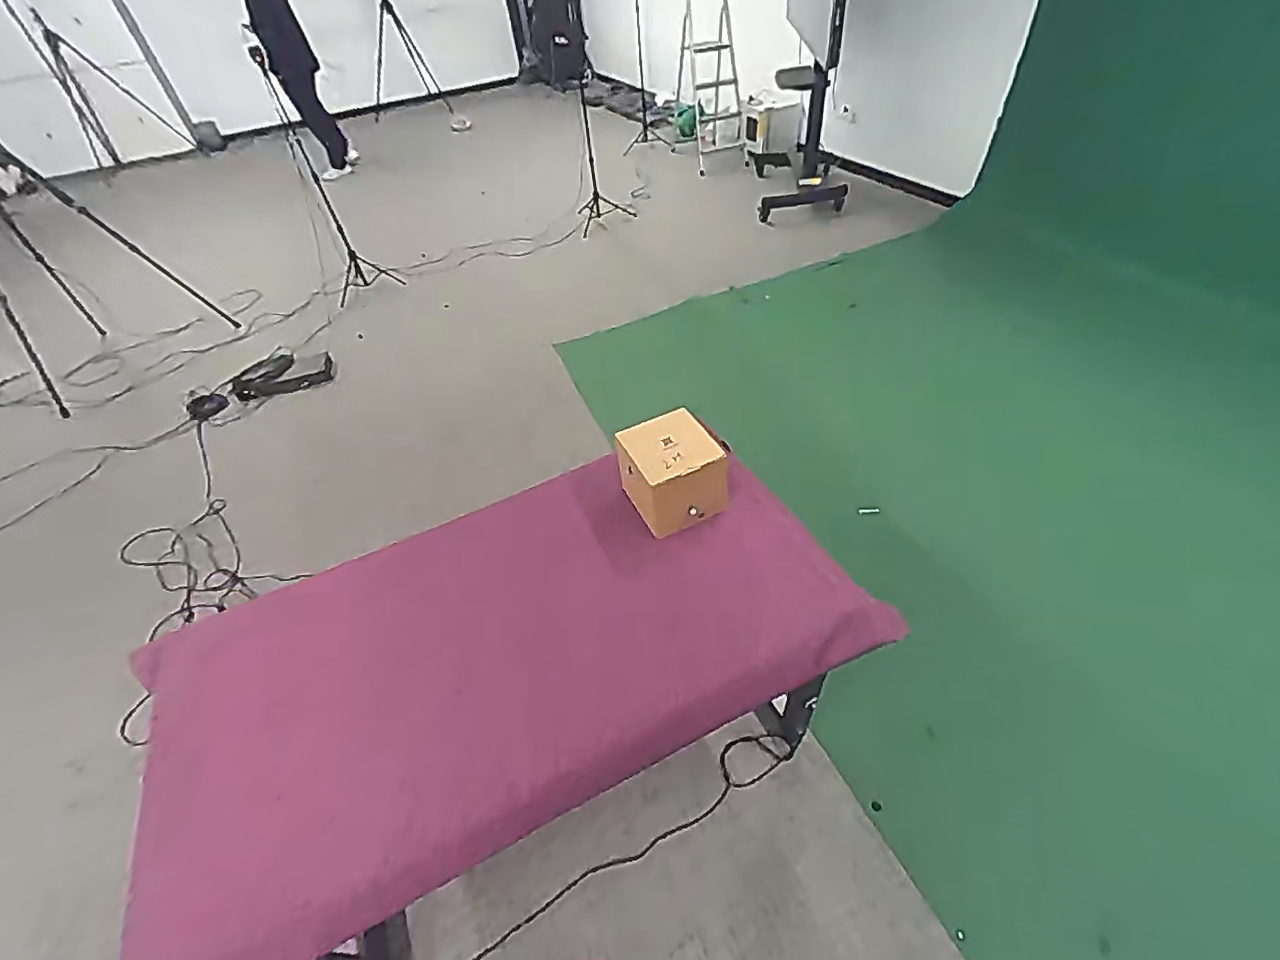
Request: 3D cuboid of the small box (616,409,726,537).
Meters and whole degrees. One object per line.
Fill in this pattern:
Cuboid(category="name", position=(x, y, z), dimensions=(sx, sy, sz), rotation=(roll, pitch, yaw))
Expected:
Cuboid(category="small box", position=(0.064, -0.014, 1.130), dimensions=(0.168, 0.176, 0.179), rotation=(-23, 49, -13))
